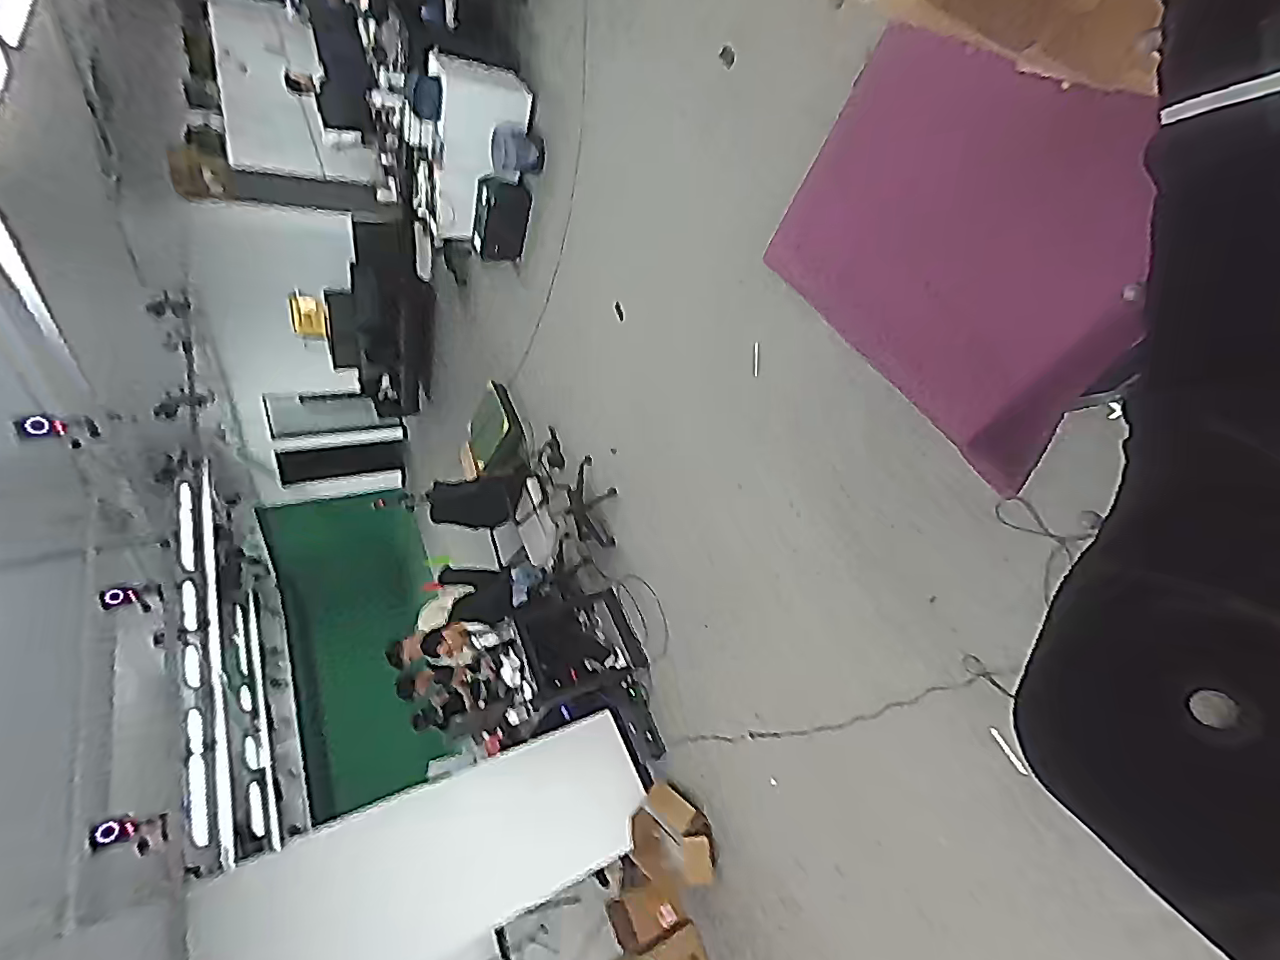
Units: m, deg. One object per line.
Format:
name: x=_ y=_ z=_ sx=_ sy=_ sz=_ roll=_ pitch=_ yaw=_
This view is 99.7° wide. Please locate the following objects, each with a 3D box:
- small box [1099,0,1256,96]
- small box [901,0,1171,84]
small box: x=0.558 y=-0.551 z=0.592 sx=0.168 sy=0.176 sz=0.179 roll=53 pitch=139 yaw=36
small box: x=0.410 y=-0.518 z=0.526 sx=0.179 sy=0.176 sz=0.168 roll=57 pitch=143 yaw=33
